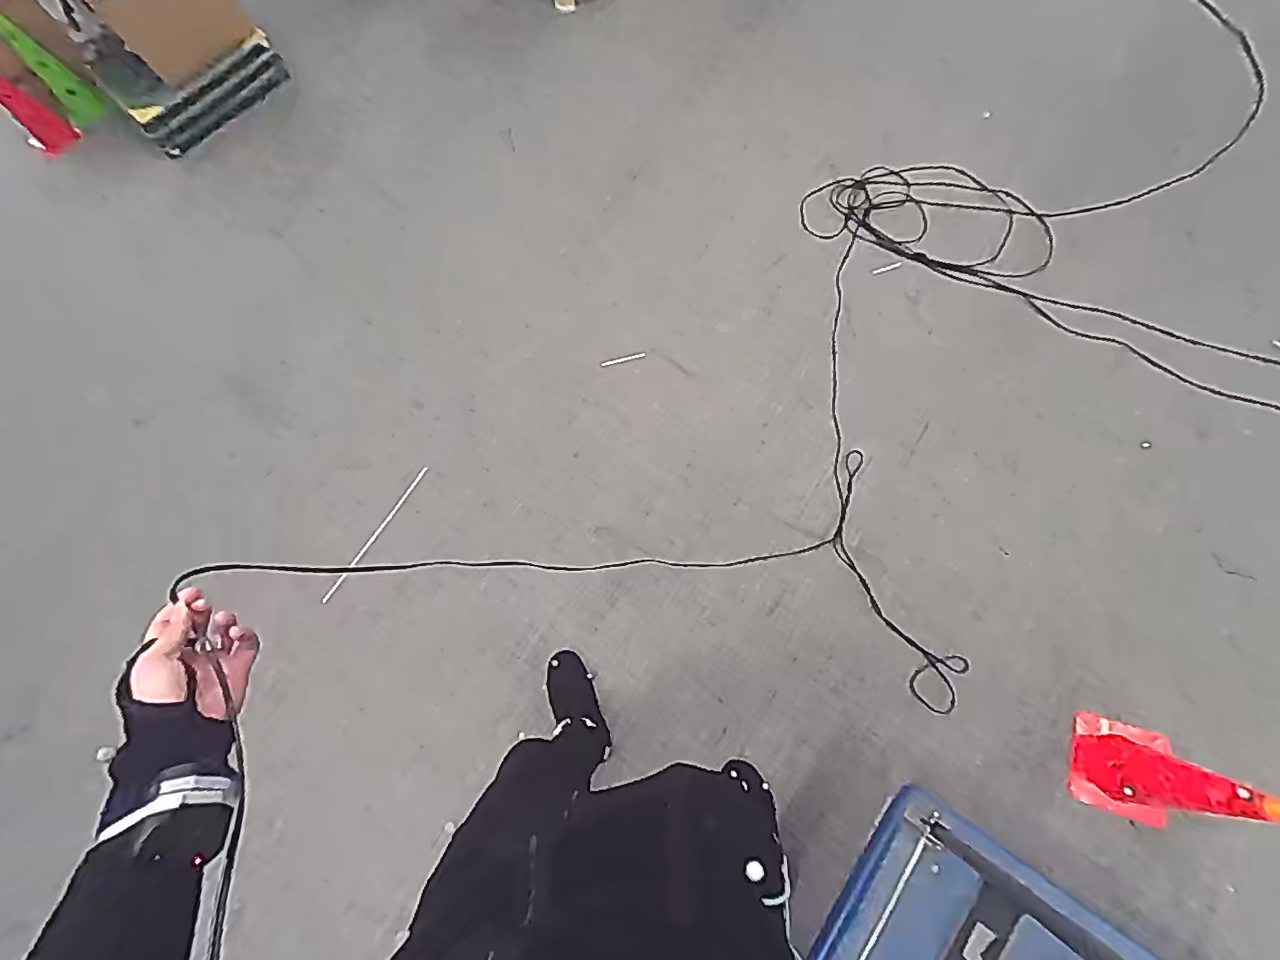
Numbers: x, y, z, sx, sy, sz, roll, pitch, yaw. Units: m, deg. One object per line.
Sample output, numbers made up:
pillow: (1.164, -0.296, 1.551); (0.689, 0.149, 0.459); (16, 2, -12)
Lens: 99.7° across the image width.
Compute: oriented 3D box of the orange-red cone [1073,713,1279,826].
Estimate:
orange-red cone: (1.097, 0.609, 1.082); (0.198, 0.360, 0.199); (17, 74, 10)
